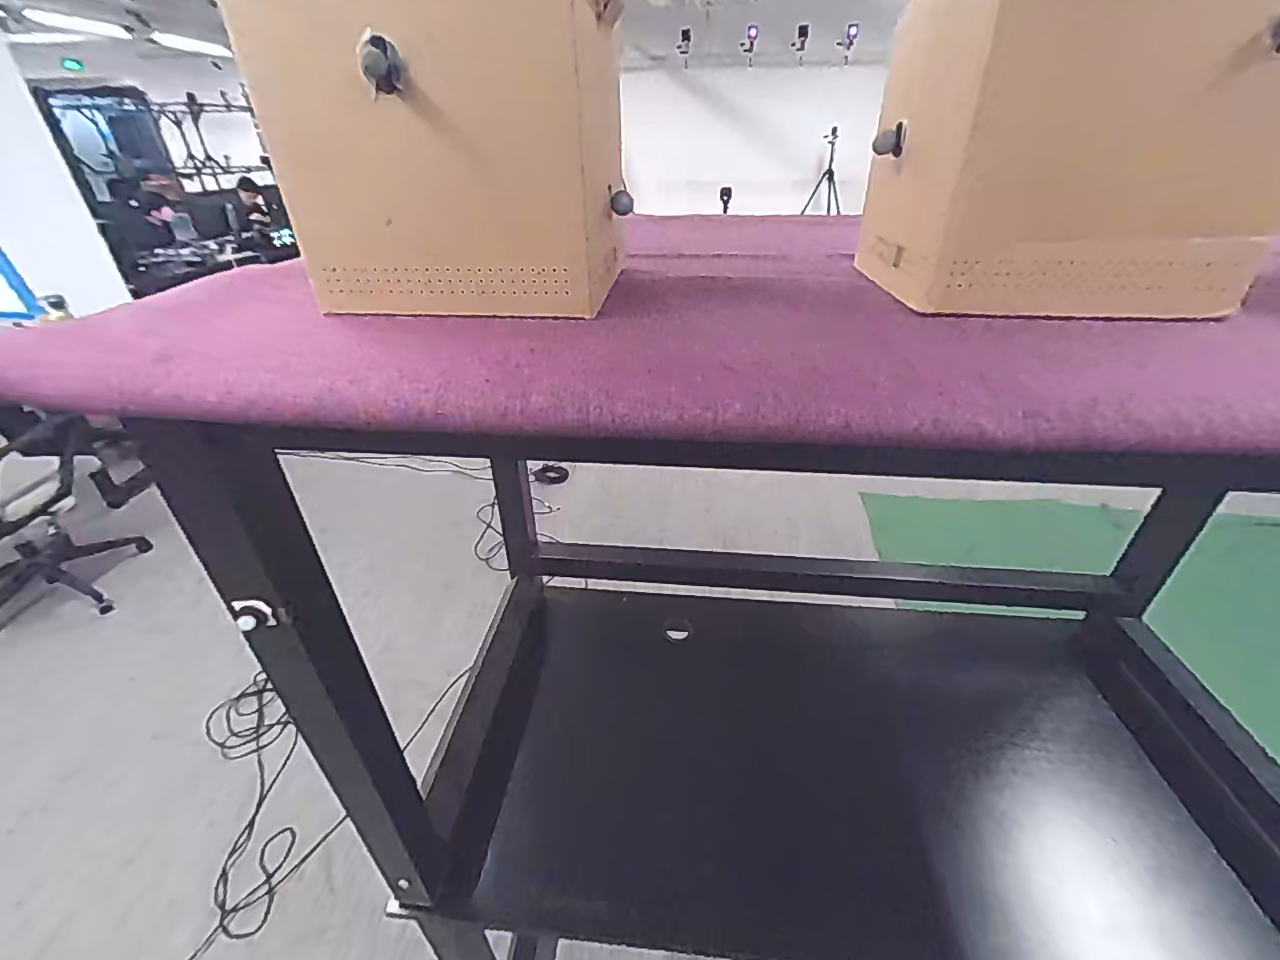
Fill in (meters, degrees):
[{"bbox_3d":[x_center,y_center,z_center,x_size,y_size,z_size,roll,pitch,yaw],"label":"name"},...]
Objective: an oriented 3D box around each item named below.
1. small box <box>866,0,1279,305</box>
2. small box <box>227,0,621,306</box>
[{"bbox_3d":[0.253,-0.209,0.333,0.179,0.176,0.168,3,31,5],"label":"small box"},{"bbox_3d":[-0.110,-0.216,0.346,0.179,0.176,0.168,2,34,4],"label":"small box"}]
